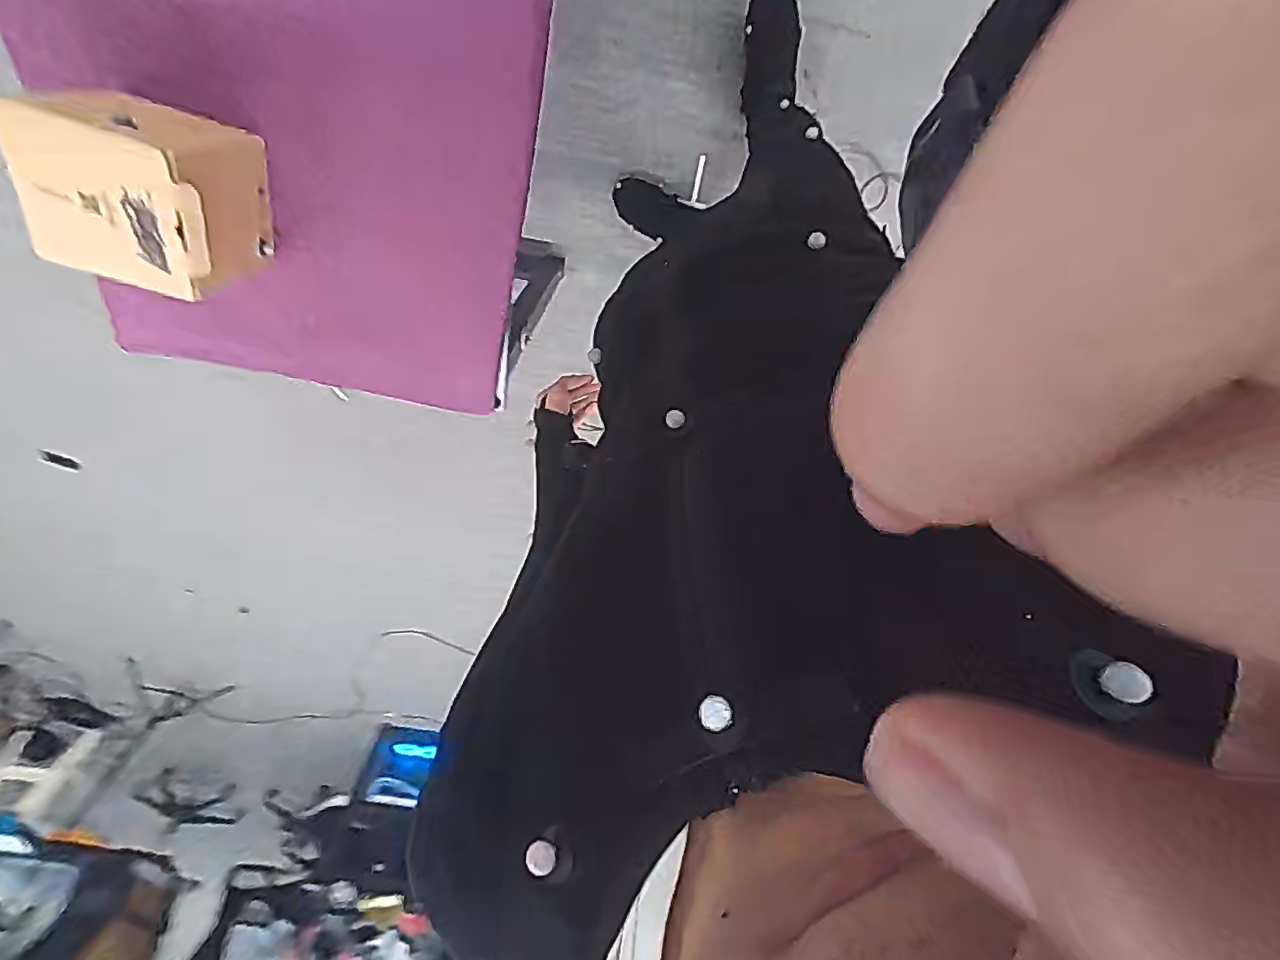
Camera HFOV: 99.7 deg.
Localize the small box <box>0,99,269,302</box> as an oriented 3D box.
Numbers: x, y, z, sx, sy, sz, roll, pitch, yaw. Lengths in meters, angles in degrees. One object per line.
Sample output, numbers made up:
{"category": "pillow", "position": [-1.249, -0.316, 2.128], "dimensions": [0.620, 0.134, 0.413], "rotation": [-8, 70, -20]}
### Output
{"category": "small box", "position": [-0.584, -0.343, 0.656], "dimensions": [0.179, 0.176, 0.168], "rotation": [14, 125, -8]}
